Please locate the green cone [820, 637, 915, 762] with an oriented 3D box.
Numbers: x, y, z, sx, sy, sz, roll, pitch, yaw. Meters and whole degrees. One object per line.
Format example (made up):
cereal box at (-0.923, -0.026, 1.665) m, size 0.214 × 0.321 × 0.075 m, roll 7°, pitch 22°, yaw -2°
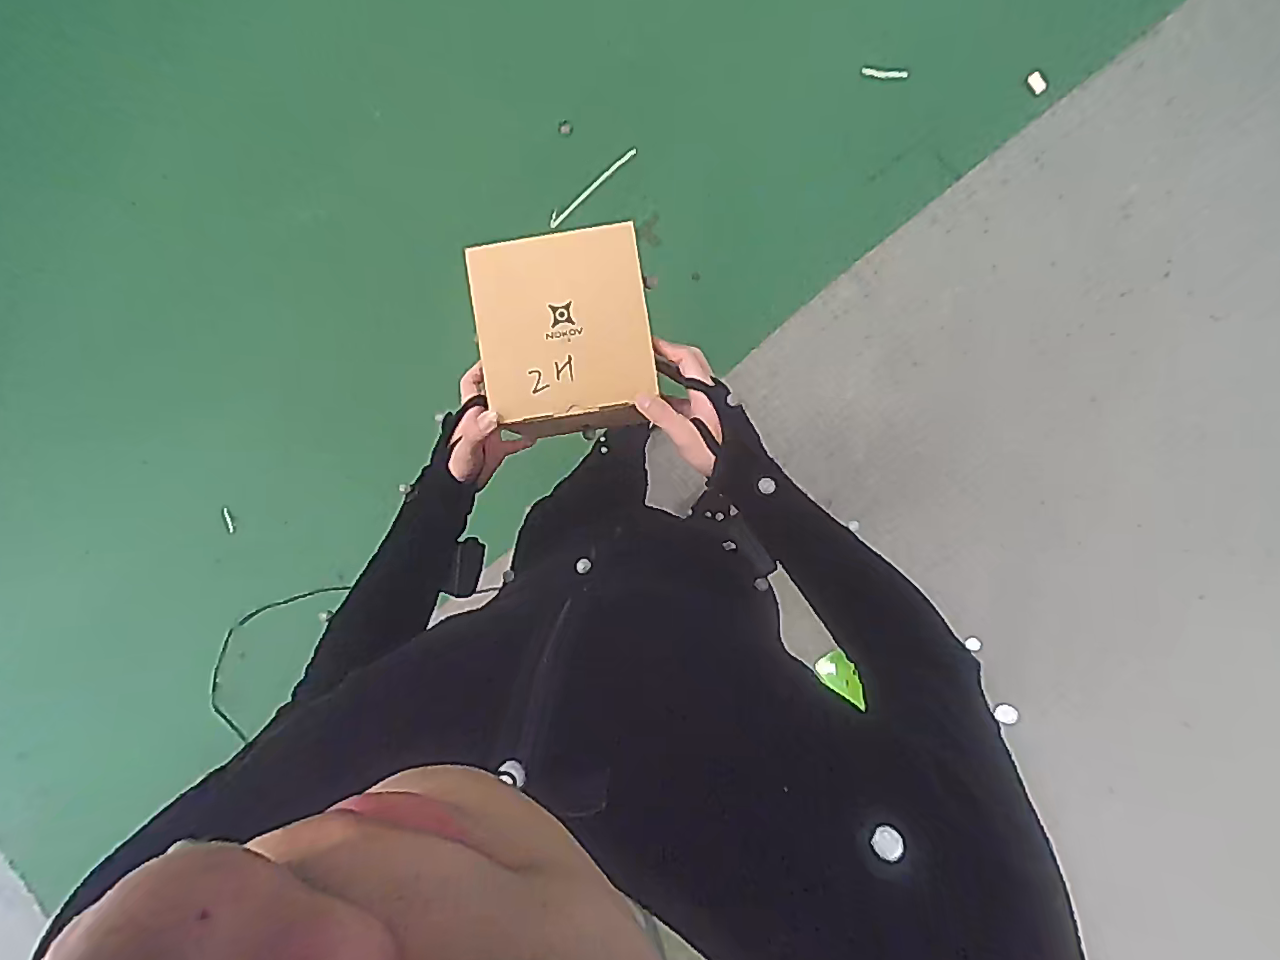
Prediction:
green cone at (0.631, 0.595, 1.398) m, size 0.202 × 0.368 × 0.200 m, roll -38°, pitch 90°, yaw 11°
